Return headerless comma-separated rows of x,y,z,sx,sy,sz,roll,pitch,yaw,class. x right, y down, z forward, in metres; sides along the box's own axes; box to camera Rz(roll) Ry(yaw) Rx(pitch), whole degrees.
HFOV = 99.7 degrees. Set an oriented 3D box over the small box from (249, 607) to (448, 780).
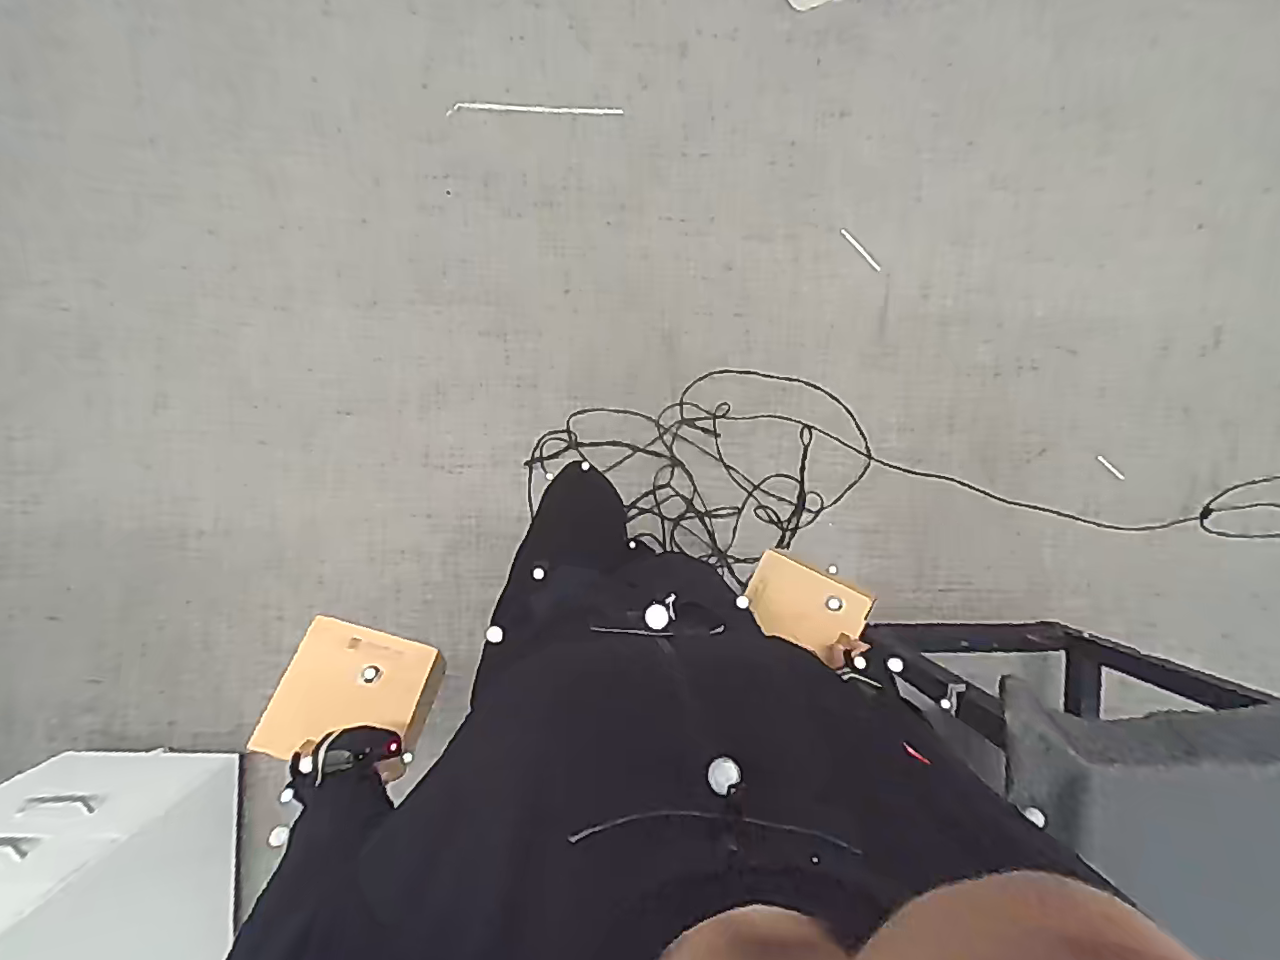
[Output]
-0.376,0.292,0.742,0.168,0.179,0.176,20,61,-6,small box
